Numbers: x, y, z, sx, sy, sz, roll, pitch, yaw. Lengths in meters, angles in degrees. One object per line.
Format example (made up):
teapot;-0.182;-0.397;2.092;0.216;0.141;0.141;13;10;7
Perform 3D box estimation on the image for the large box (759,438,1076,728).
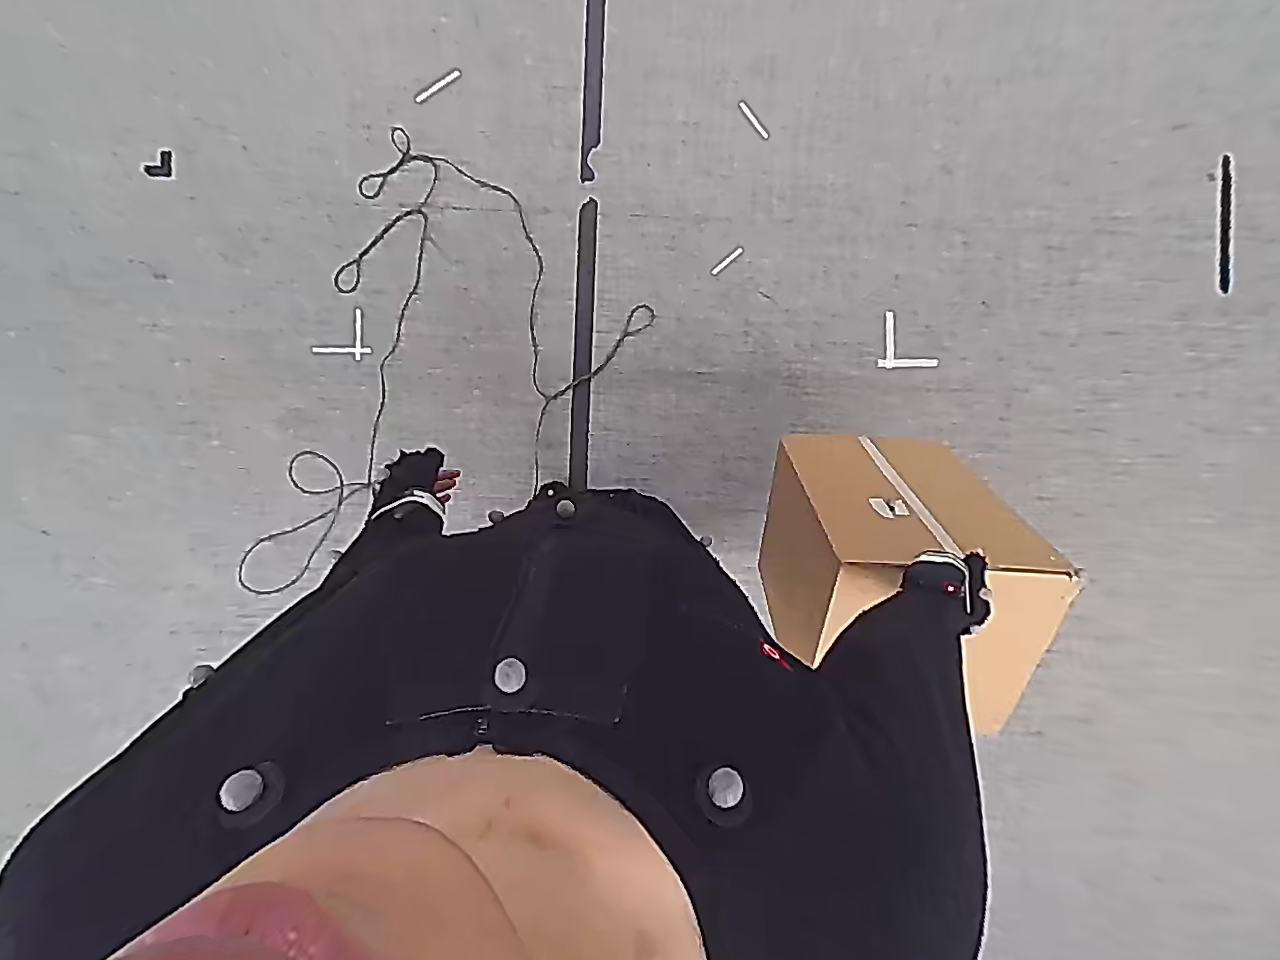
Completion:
large box;0.416;0.156;0.951;0.320;0.408;0.320;3;120;0
